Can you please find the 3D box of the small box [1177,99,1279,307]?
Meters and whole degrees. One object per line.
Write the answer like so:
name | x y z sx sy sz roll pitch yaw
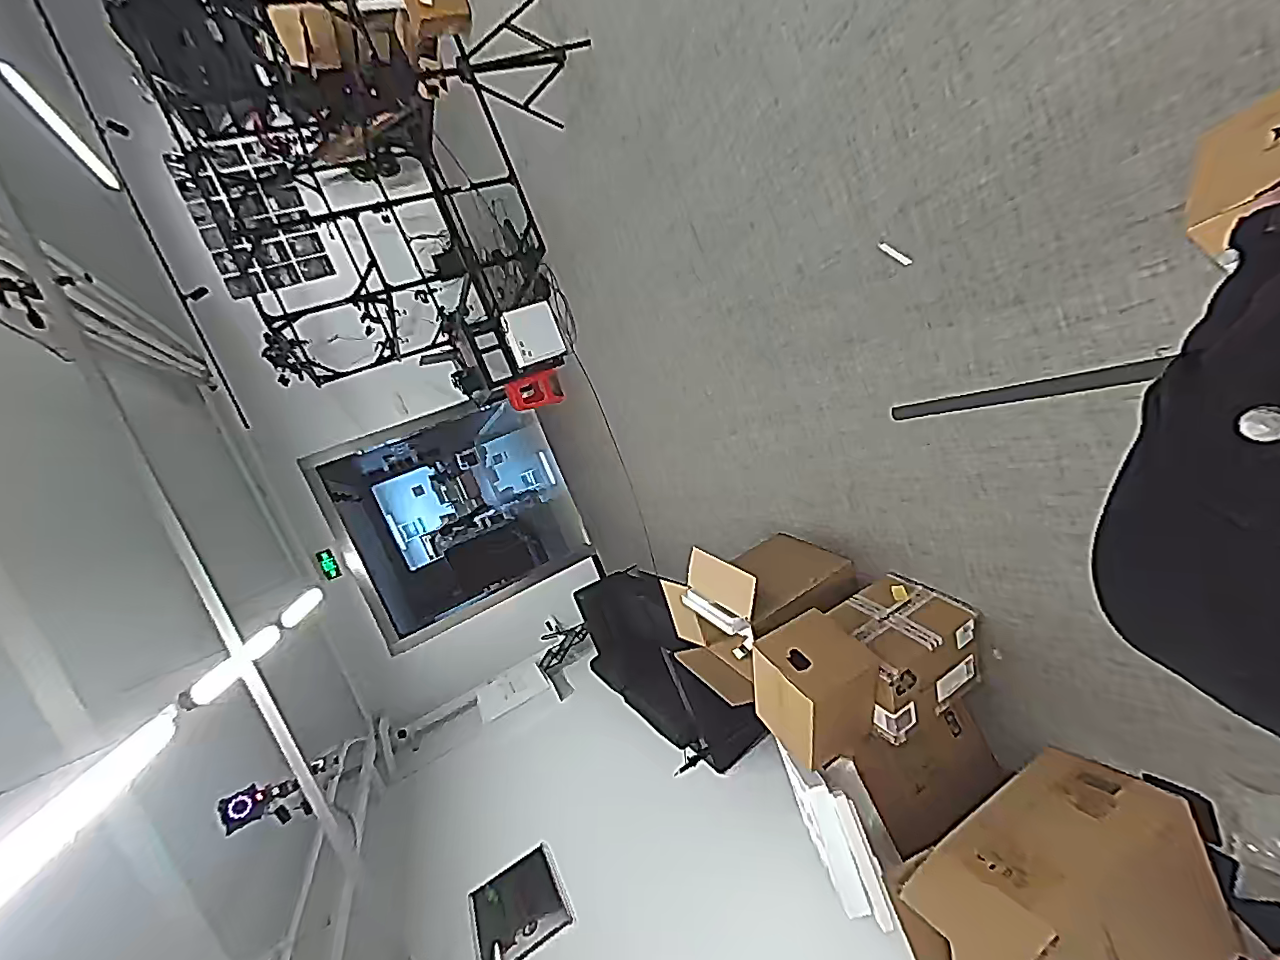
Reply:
small box | 0.764 -0.323 0.606 0.176 0.179 0.168 33 160 -12
